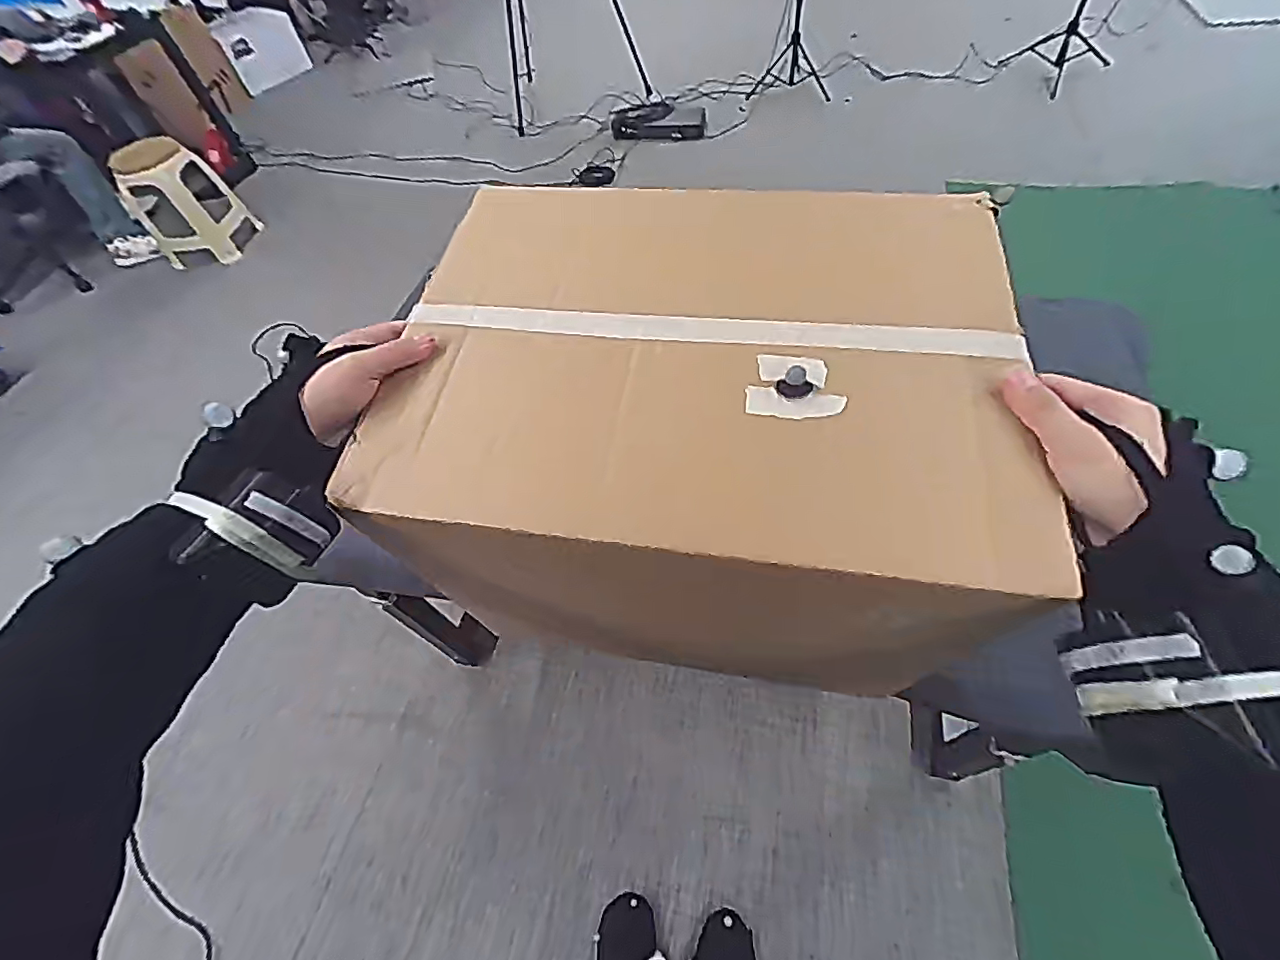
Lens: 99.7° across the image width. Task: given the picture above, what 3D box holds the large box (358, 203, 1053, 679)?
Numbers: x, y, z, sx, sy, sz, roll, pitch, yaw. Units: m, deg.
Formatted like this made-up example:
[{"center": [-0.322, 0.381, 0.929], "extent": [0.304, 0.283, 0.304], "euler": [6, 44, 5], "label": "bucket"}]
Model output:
[{"center": [0.051, -0.025, 0.506], "extent": [0.408, 0.320, 0.320], "euler": [6, 61, 9], "label": "large box"}]
